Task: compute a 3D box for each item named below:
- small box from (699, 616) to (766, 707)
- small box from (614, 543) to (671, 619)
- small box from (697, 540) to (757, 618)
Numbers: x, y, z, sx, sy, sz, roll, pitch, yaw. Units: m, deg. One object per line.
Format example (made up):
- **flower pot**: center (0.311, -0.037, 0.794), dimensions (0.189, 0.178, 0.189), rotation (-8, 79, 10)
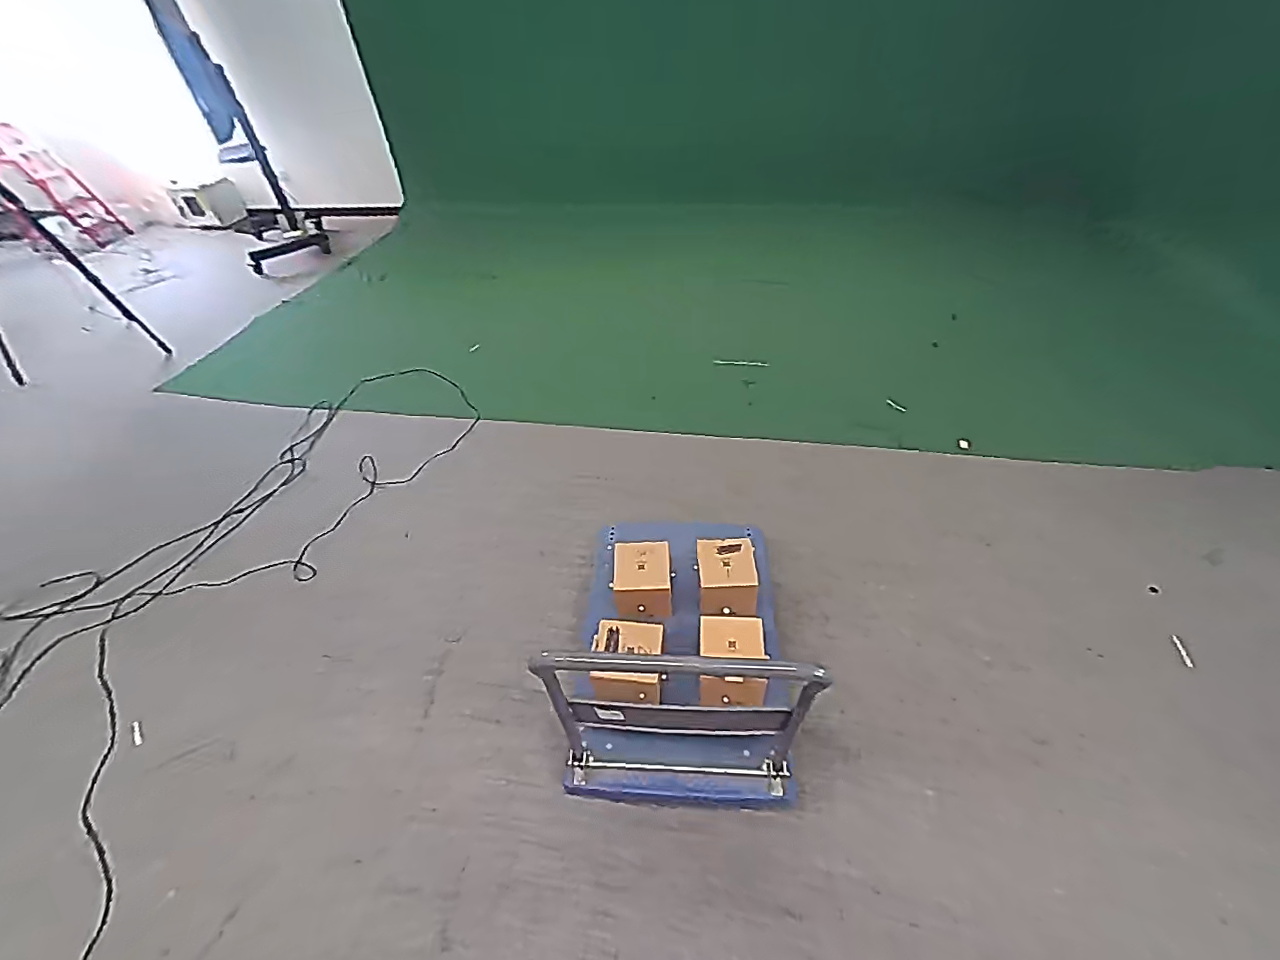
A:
- **small box**: center (0.246, 0.494, 1.475), dimensions (0.168, 0.176, 0.179), rotation (1, 45, 6)
- **small box**: center (0.012, 0.318, 1.678), dimensions (0.168, 0.176, 0.179), rotation (-2, 44, 2)
- **small box**: center (0.263, 0.305, 1.667), dimensions (0.168, 0.176, 0.179), rotation (-3, 45, 3)
